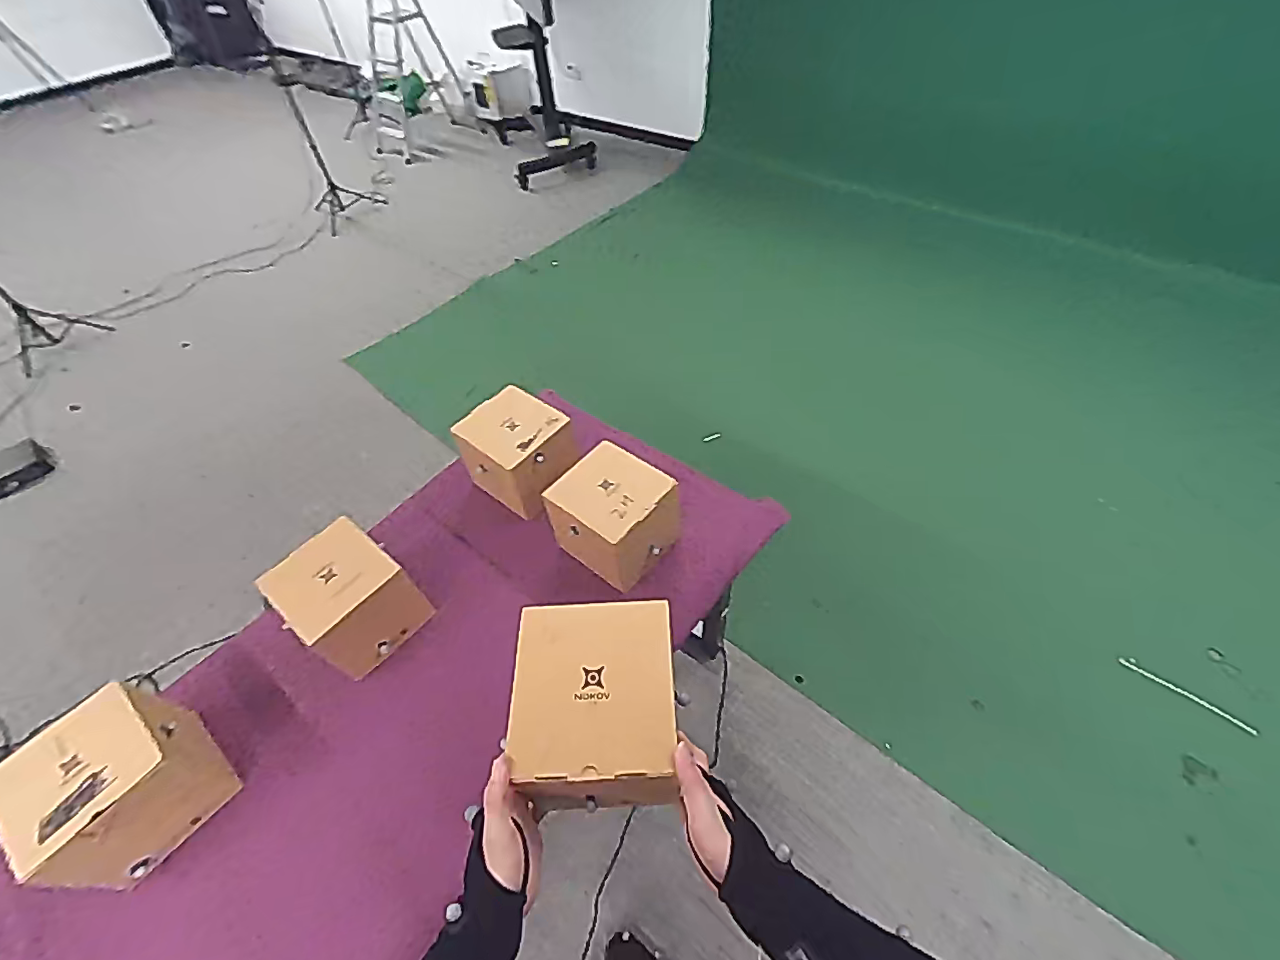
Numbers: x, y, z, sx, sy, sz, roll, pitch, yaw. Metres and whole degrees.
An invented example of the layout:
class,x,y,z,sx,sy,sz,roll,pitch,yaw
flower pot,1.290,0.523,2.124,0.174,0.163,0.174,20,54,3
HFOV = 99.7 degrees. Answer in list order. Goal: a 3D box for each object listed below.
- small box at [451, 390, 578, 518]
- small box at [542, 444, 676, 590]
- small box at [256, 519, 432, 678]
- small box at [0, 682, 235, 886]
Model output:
class,x,y,z,sx,sy,sz,roll,pitch,yaw
small box,-0.249,-0.050,1.115,0.179,0.176,0.168,30,59,26
small box,-0.050,0.071,0.996,0.179,0.176,0.168,31,60,28
small box,-0.493,0.205,0.923,0.179,0.176,0.168,32,60,26
small box,-0.722,0.424,0.754,0.179,0.176,0.168,30,58,26
